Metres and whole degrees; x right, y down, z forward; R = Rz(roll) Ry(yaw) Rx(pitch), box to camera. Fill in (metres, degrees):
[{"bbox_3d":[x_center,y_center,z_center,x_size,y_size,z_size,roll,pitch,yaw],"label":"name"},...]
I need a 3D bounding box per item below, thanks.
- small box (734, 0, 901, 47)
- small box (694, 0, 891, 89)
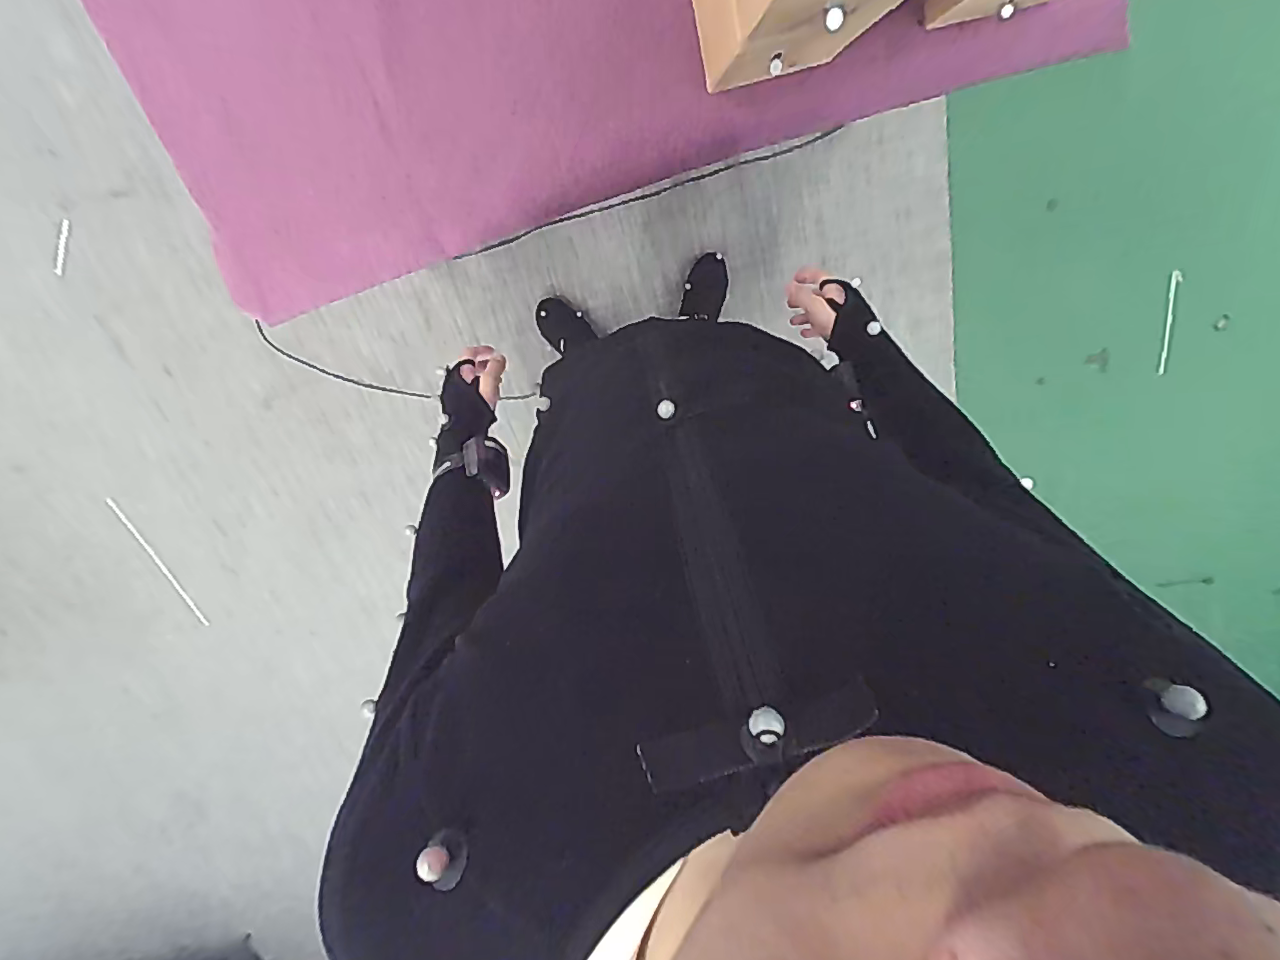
[{"bbox_3d":[0.165,-0.502,0.438,0.168,0.176,0.179,-14,112,2],"label":"small box"},{"bbox_3d":[0.153,-0.560,0.590,0.168,0.176,0.179,-14,111,2],"label":"small box"}]
